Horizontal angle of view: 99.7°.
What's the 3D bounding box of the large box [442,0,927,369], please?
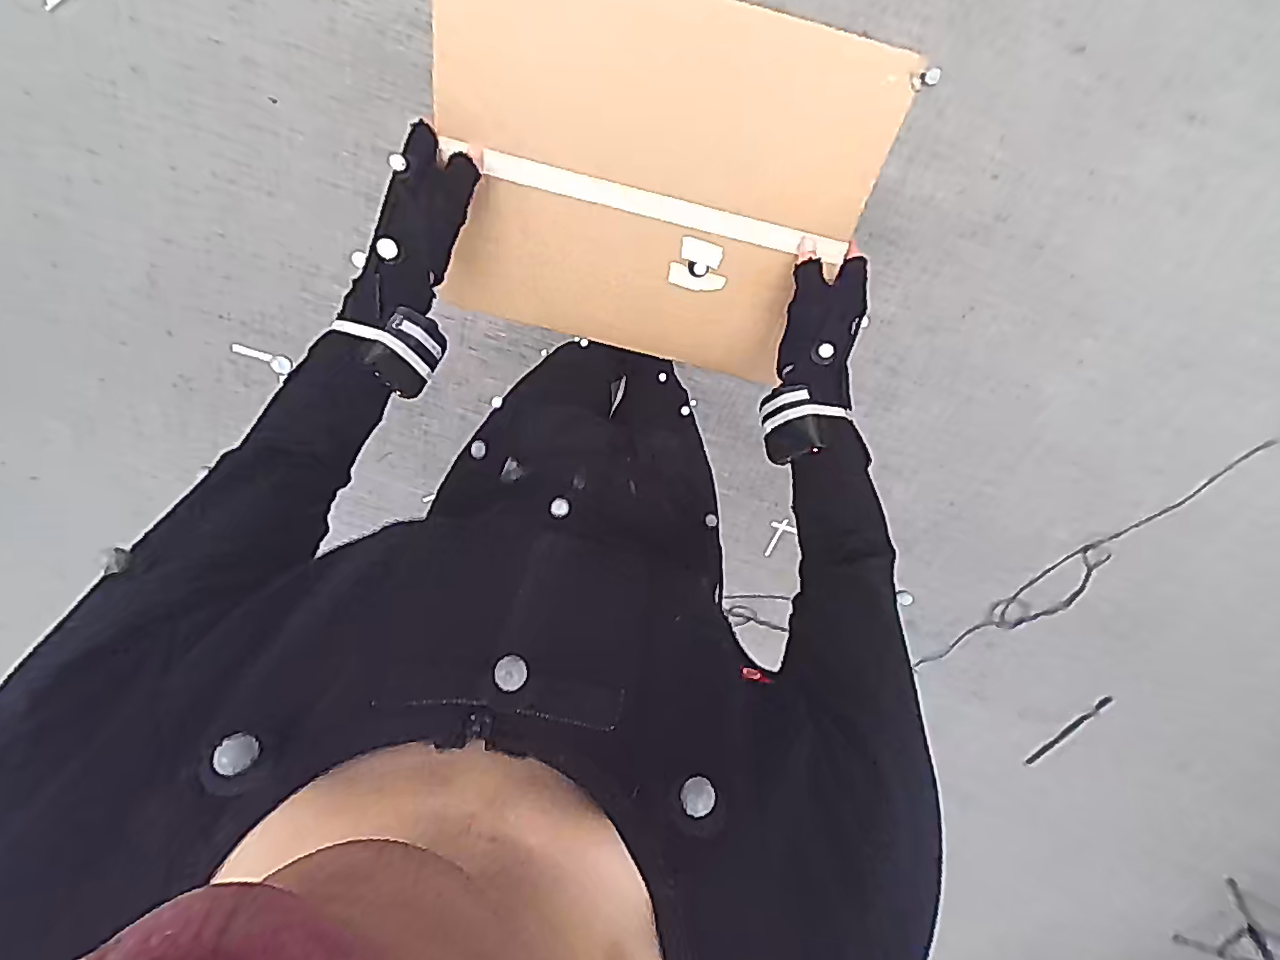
[{"bbox_3d":[0.022,-0.373,0.634,0.408,0.320,0.320,12,131,-4],"label":"large box"}]
